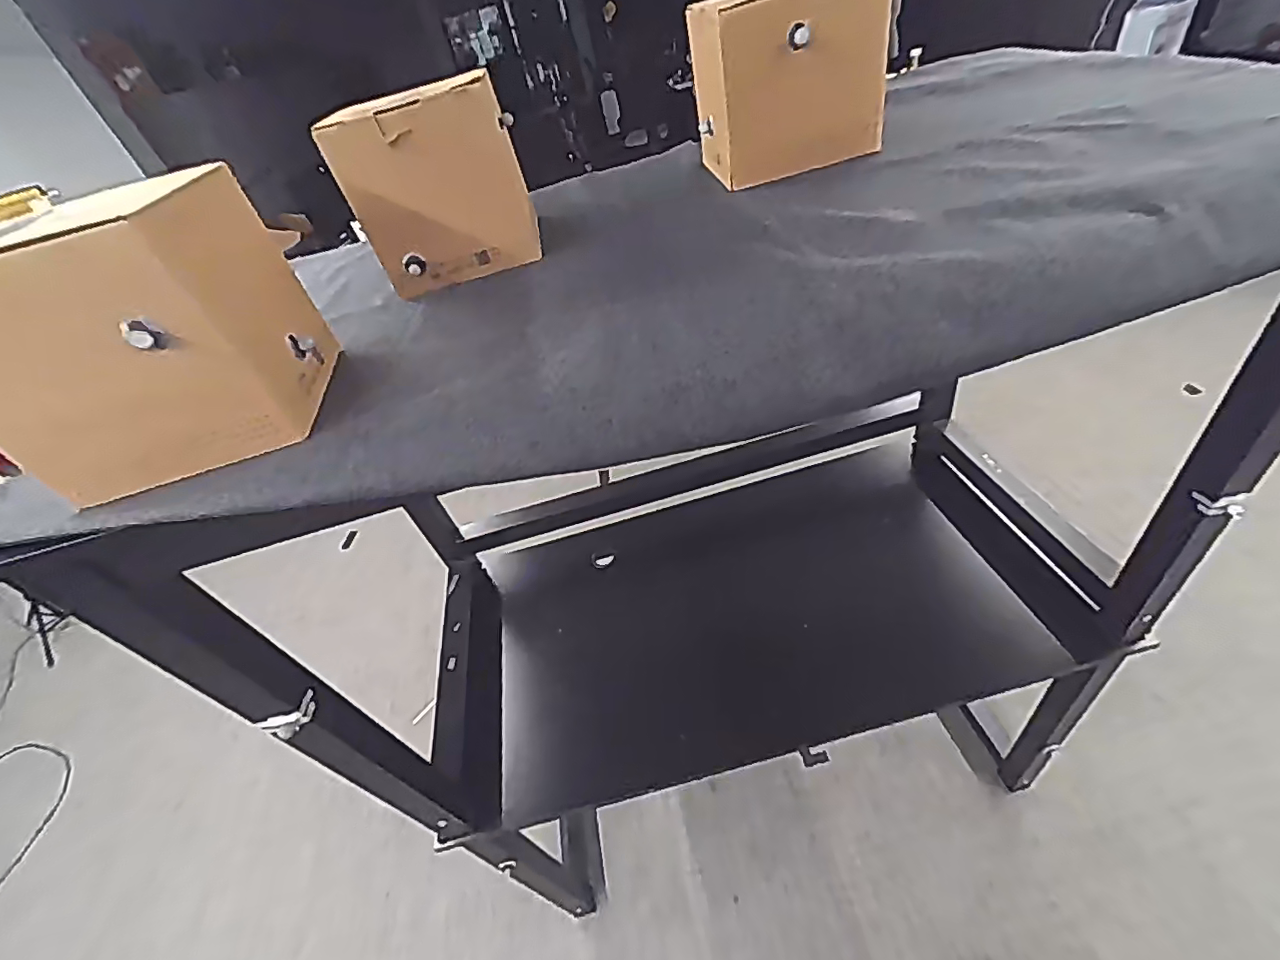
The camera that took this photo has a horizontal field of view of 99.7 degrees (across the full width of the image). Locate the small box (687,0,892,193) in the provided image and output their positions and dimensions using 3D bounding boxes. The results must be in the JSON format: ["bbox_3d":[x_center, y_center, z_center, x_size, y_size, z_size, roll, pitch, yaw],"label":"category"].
[{"bbox_3d":[0.165,-0.461,0.626,0.179,0.176,0.168,-15,41,4],"label":"small box"}]

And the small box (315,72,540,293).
[{"bbox_3d":[-0.218,-0.330,0.610,0.168,0.176,0.179,-16,40,1],"label":"small box"}]
